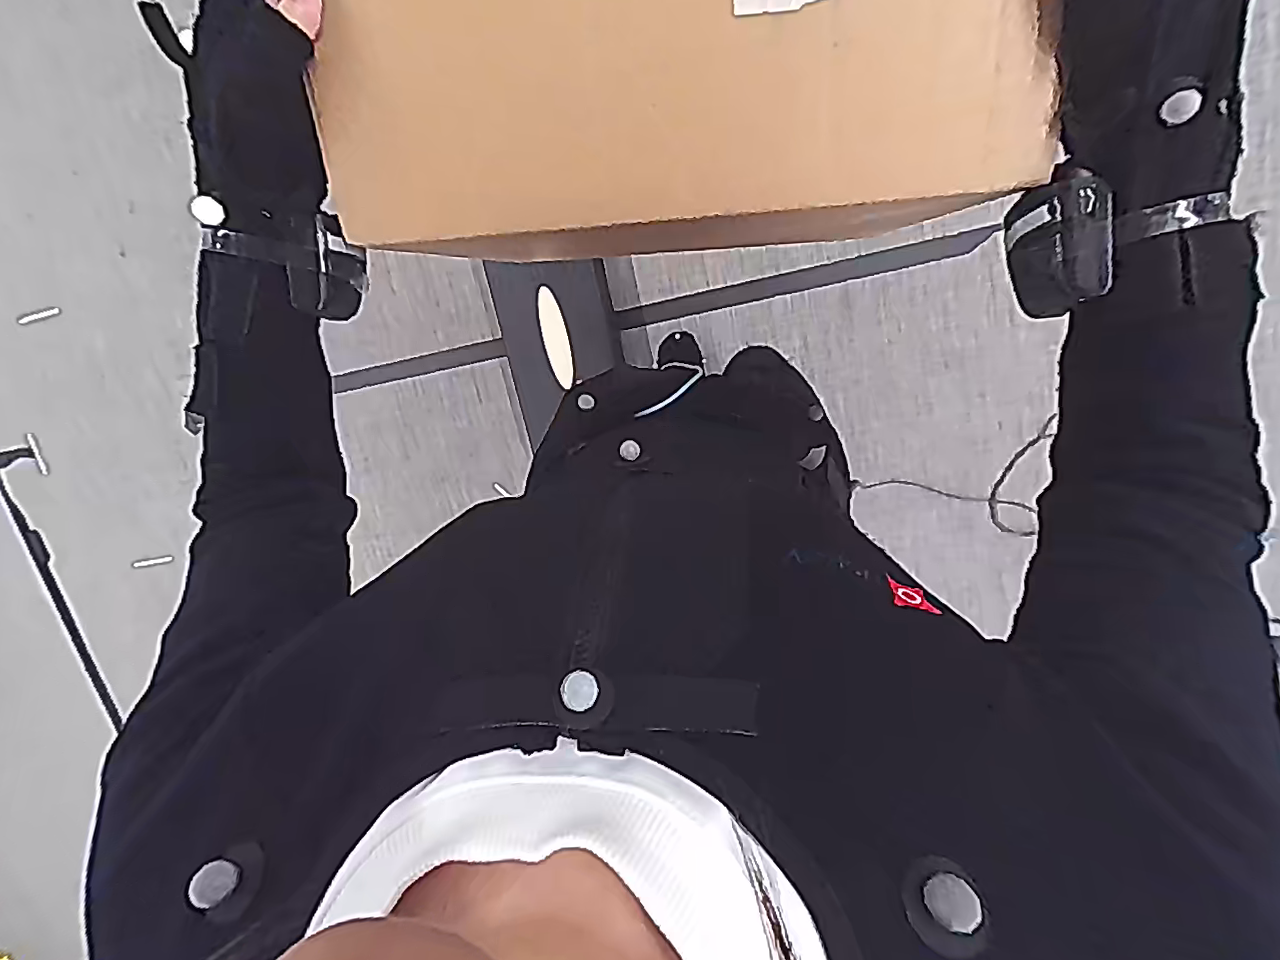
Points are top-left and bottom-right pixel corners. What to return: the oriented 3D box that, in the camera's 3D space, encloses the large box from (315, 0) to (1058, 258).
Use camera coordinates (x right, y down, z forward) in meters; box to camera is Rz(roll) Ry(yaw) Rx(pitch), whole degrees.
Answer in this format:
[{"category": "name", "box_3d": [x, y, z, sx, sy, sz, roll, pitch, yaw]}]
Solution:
[{"category": "large box", "box_3d": [0.024, -0.359, 0.412, 0.408, 0.320, 0.320, -2, 110, 7]}]
